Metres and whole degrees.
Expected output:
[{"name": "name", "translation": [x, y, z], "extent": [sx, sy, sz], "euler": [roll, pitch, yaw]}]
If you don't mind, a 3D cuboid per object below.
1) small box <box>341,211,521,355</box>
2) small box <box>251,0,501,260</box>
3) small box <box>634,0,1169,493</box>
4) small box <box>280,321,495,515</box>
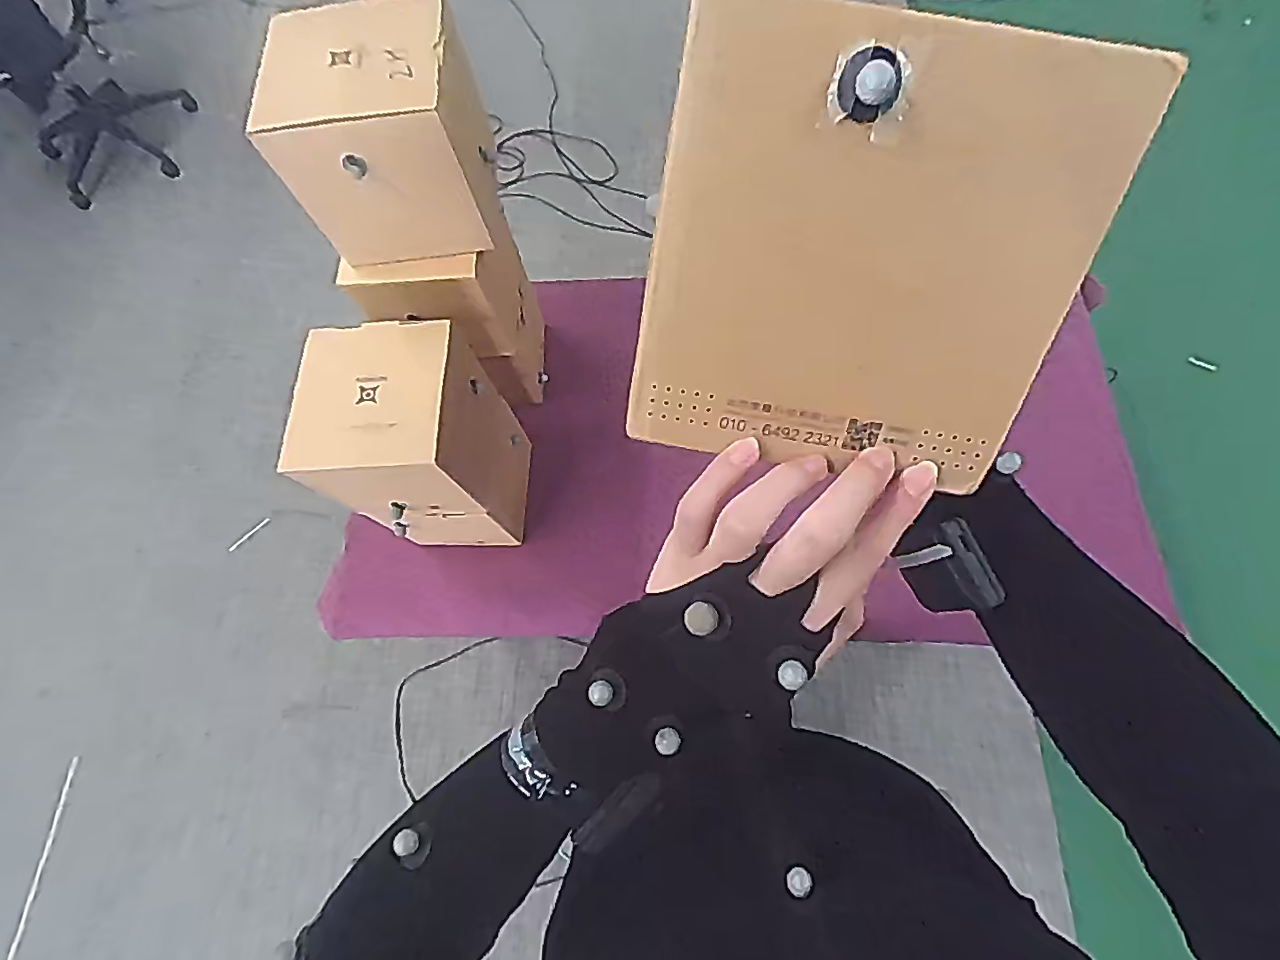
[{"name": "small box", "translation": [-0.264, -0.280, 0.726], "extent": [0.168, 0.176, 0.179], "euler": [-3, 70, 3]}, {"name": "small box", "translation": [-0.262, -0.360, 0.580], "extent": [0.179, 0.176, 0.168], "euler": [-6, 70, 1]}, {"name": "small box", "translation": [0.094, -0.114, 0.292], "extent": [0.168, 0.179, 0.176], "euler": [10, 116, 1]}, {"name": "small box", "translation": [-0.281, -0.066, 0.648], "extent": [0.168, 0.176, 0.179], "euler": [-2, 70, 3]}]
